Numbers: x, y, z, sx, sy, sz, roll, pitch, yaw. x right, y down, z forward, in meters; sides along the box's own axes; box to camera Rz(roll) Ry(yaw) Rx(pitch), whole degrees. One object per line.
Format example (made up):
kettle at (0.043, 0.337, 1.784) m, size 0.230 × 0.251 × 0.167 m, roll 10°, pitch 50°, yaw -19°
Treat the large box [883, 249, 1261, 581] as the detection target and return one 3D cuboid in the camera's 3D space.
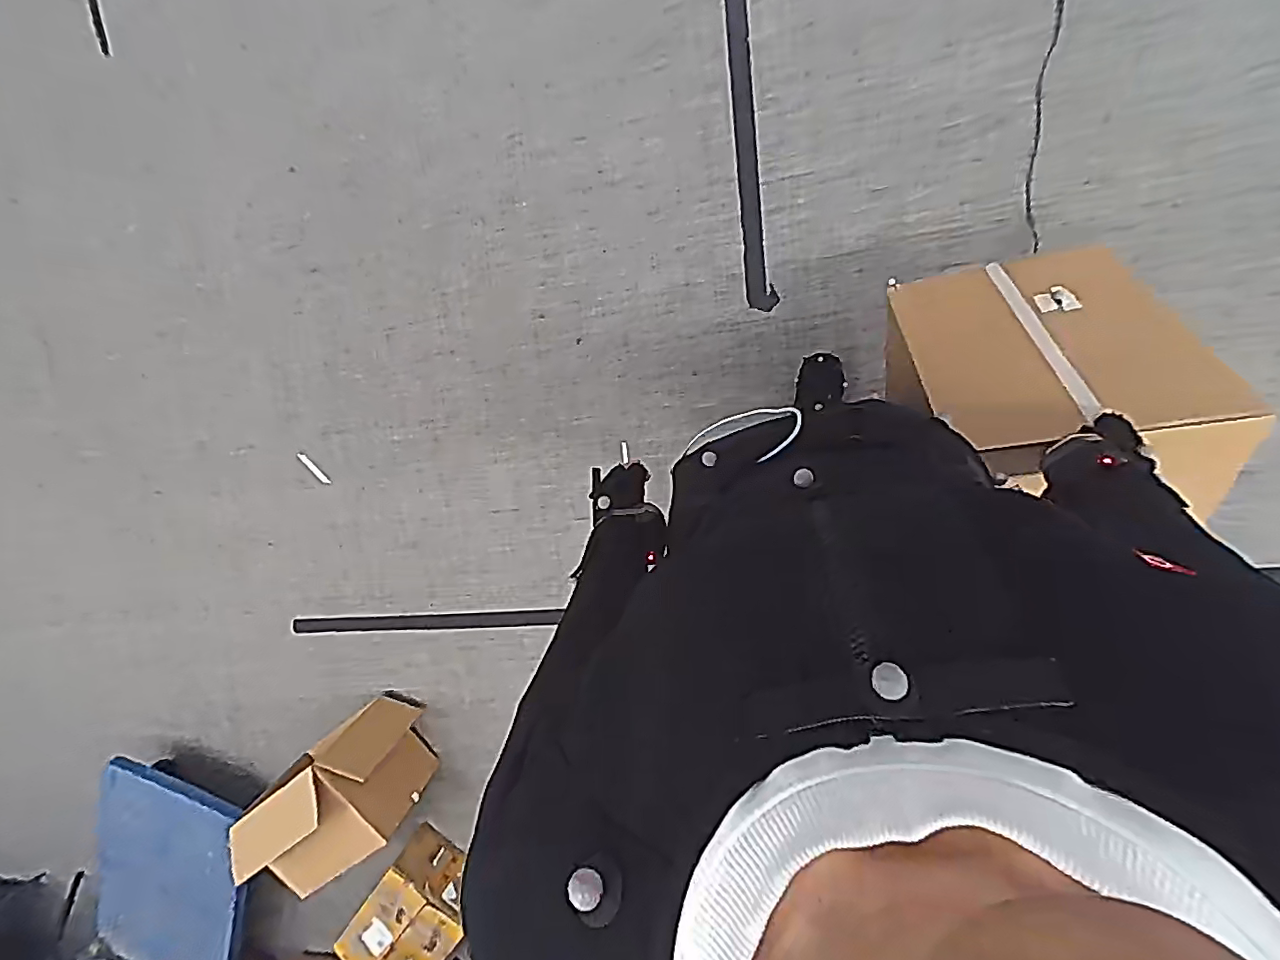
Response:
large box at (0.593, -0.099, 0.860) m, size 0.320 × 0.408 × 0.320 m, roll -8°, pitch 135°, yaw 15°
